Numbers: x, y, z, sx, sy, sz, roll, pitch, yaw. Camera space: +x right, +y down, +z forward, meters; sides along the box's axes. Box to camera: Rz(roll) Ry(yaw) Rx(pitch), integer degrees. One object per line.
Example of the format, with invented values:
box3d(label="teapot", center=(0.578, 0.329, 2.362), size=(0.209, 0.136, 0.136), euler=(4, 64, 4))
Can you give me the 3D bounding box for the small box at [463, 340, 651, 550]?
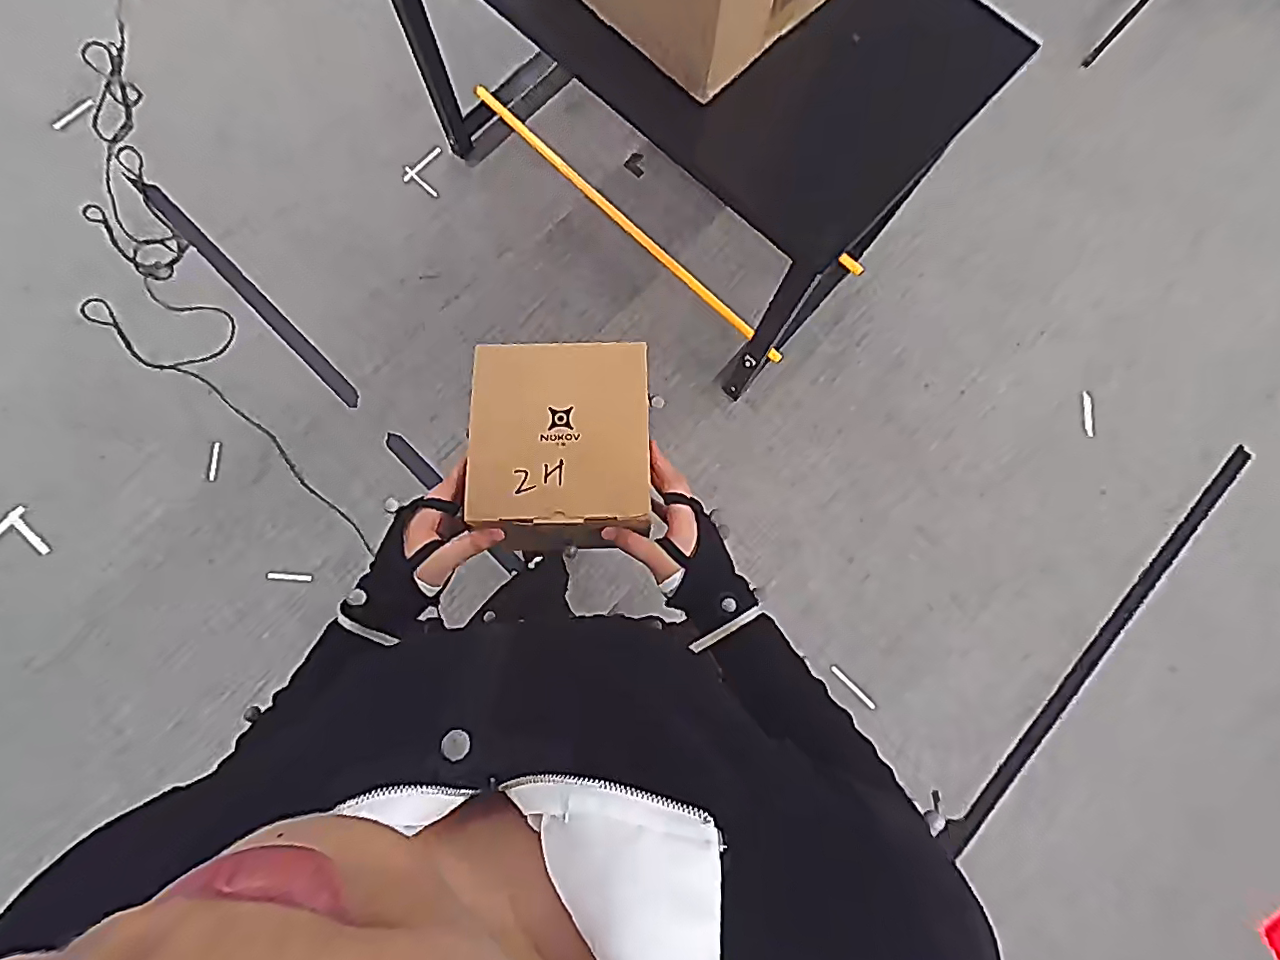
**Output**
box3d(label="small box", center=(-0.075, -0.028, 0.569), size=(0.168, 0.176, 0.179), euler=(-1, 74, -1))
